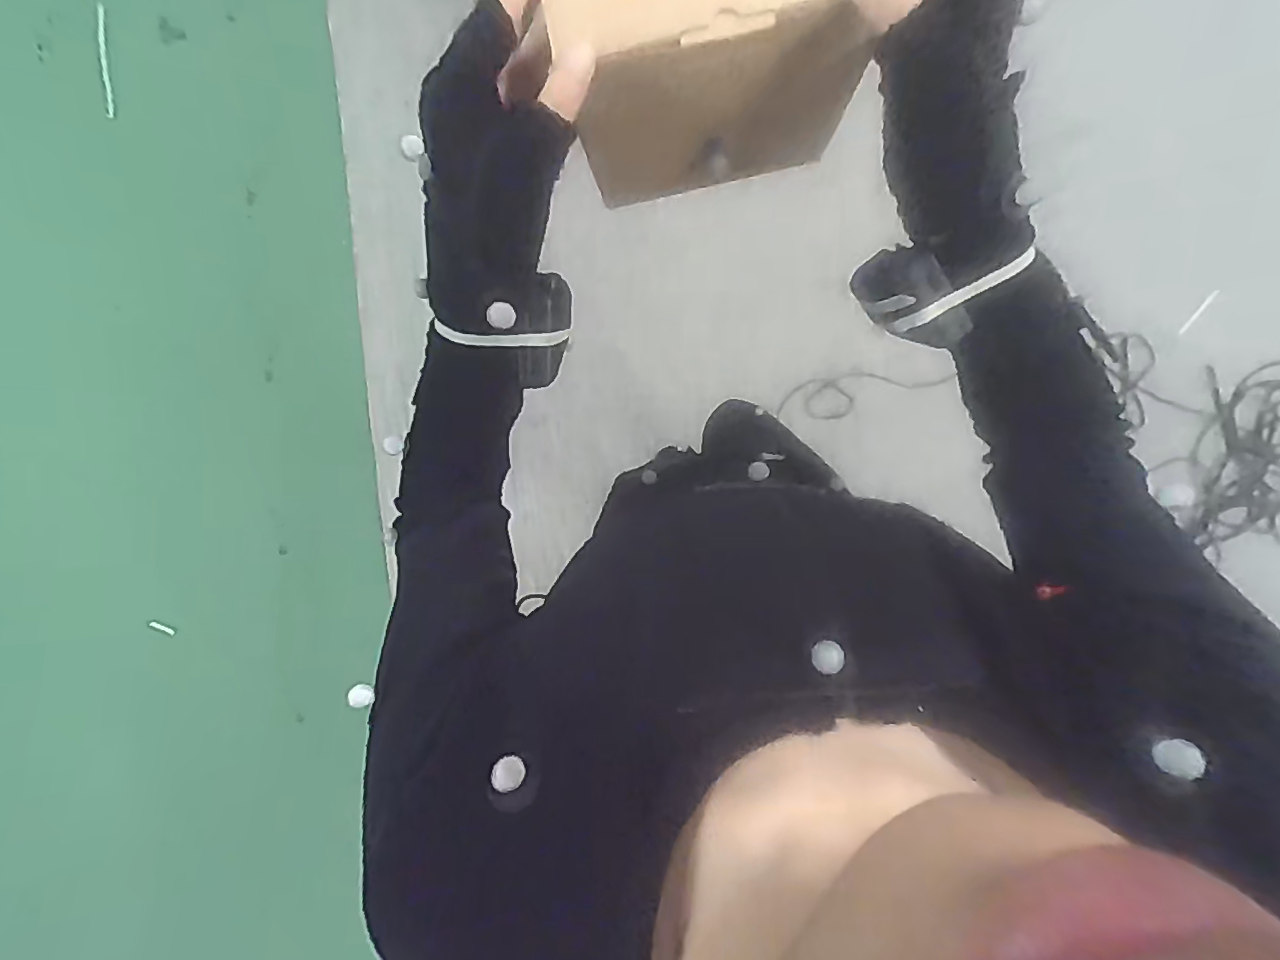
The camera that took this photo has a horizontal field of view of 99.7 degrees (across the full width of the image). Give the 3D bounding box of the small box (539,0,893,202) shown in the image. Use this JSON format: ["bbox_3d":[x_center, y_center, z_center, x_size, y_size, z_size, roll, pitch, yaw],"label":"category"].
[{"bbox_3d":[0.031,-0.300,0.317,0.168,0.176,0.179,-9,93,7],"label":"small box"}]
